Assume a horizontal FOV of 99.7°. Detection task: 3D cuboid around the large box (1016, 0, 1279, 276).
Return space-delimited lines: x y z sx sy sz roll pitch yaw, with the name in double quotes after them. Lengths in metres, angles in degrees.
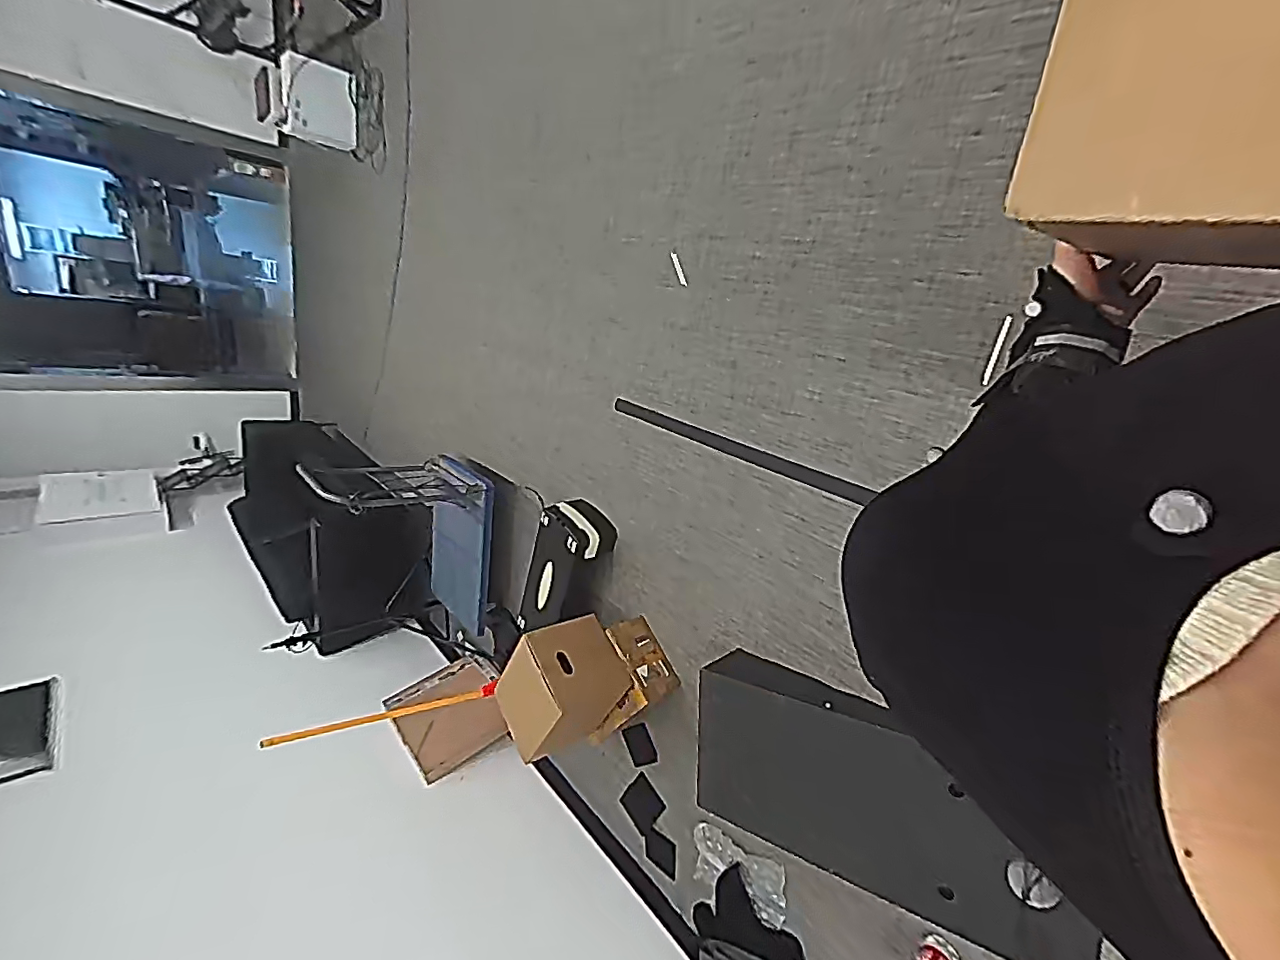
0.487 -0.265 0.252 0.408 0.320 0.320 26 120 43 "large box"
